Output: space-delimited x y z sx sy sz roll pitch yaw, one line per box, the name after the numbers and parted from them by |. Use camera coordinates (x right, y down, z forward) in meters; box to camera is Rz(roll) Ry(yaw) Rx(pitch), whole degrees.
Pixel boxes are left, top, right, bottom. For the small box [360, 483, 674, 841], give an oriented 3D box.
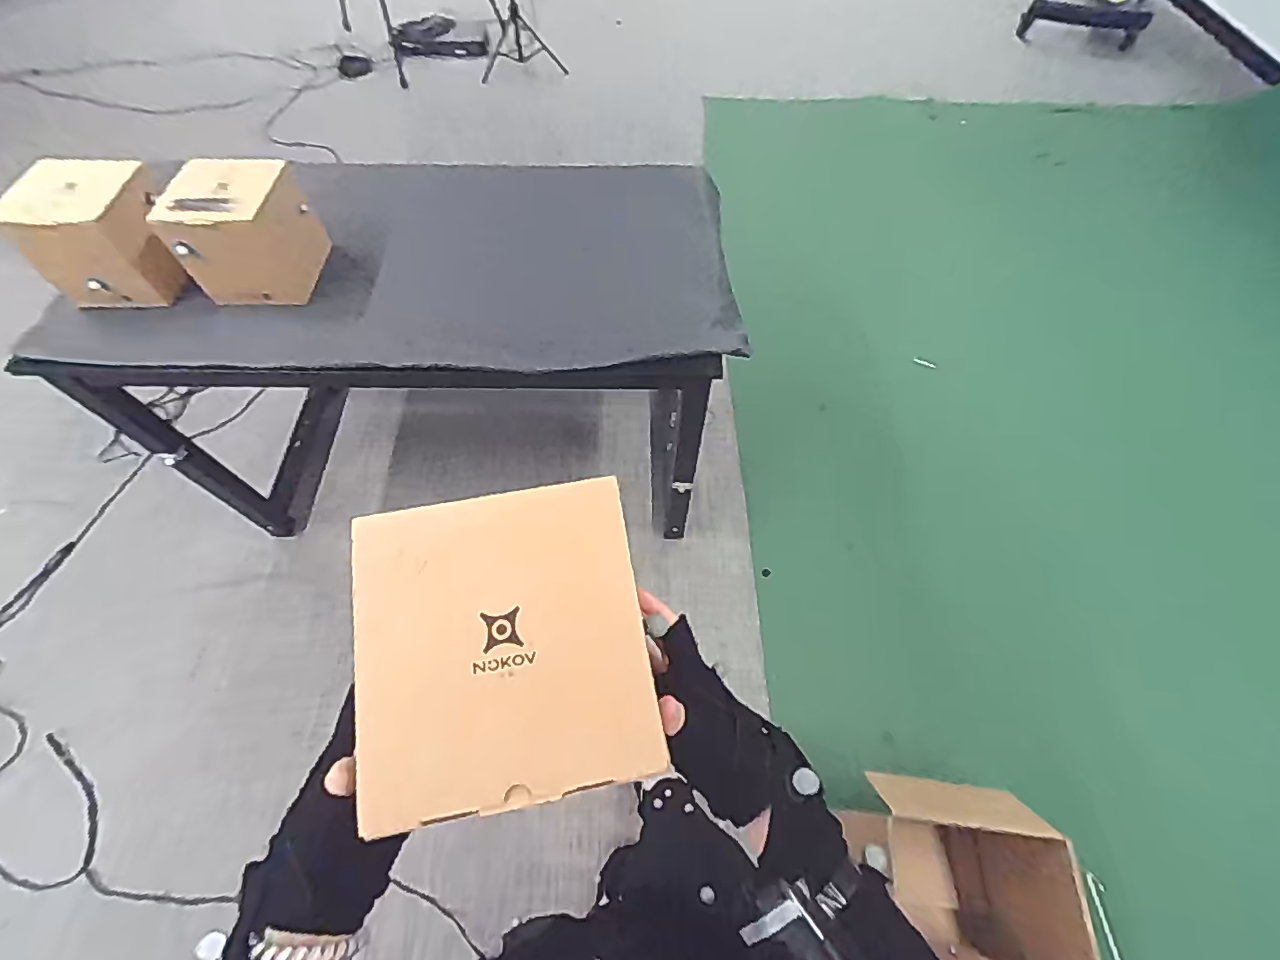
-0.081 0.120 0.389 0.168 0.176 0.179 -10 72 -6 | small box

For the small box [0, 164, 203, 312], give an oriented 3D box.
-0.918 -0.419 0.942 0.168 0.176 0.179 -1 59 -3 | small box
